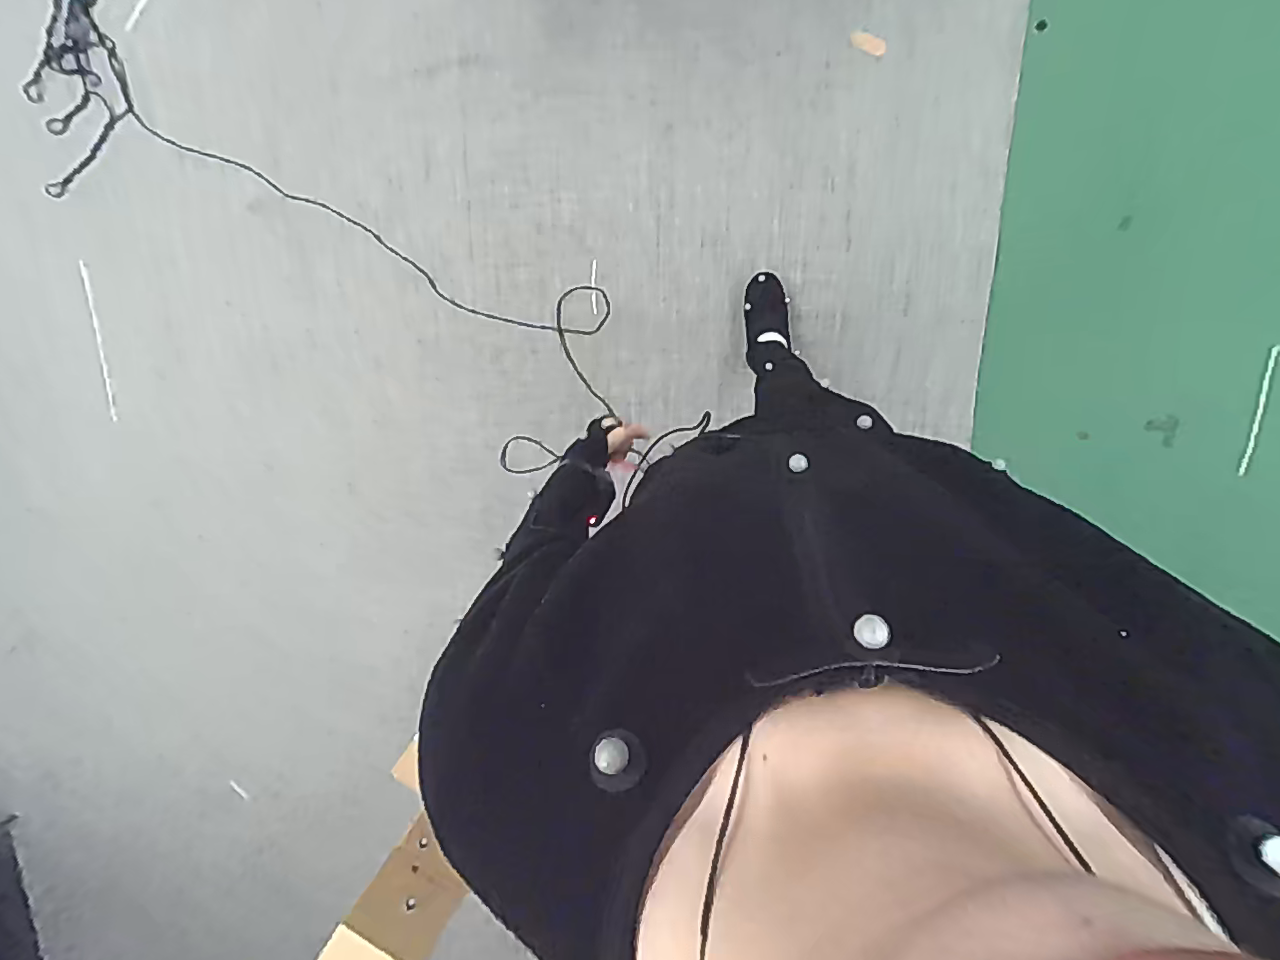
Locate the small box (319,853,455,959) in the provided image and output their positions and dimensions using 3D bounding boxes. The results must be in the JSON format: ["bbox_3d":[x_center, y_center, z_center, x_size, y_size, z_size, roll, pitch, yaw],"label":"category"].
[{"bbox_3d":[-0.475,0.858,1.012,0.168,0.176,0.179,34,103,2],"label":"small box"}]

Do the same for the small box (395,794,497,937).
[{"bbox_3d":[-0.441,0.833,1.172,0.179,0.176,0.168,34,103,1],"label":"small box"}]
